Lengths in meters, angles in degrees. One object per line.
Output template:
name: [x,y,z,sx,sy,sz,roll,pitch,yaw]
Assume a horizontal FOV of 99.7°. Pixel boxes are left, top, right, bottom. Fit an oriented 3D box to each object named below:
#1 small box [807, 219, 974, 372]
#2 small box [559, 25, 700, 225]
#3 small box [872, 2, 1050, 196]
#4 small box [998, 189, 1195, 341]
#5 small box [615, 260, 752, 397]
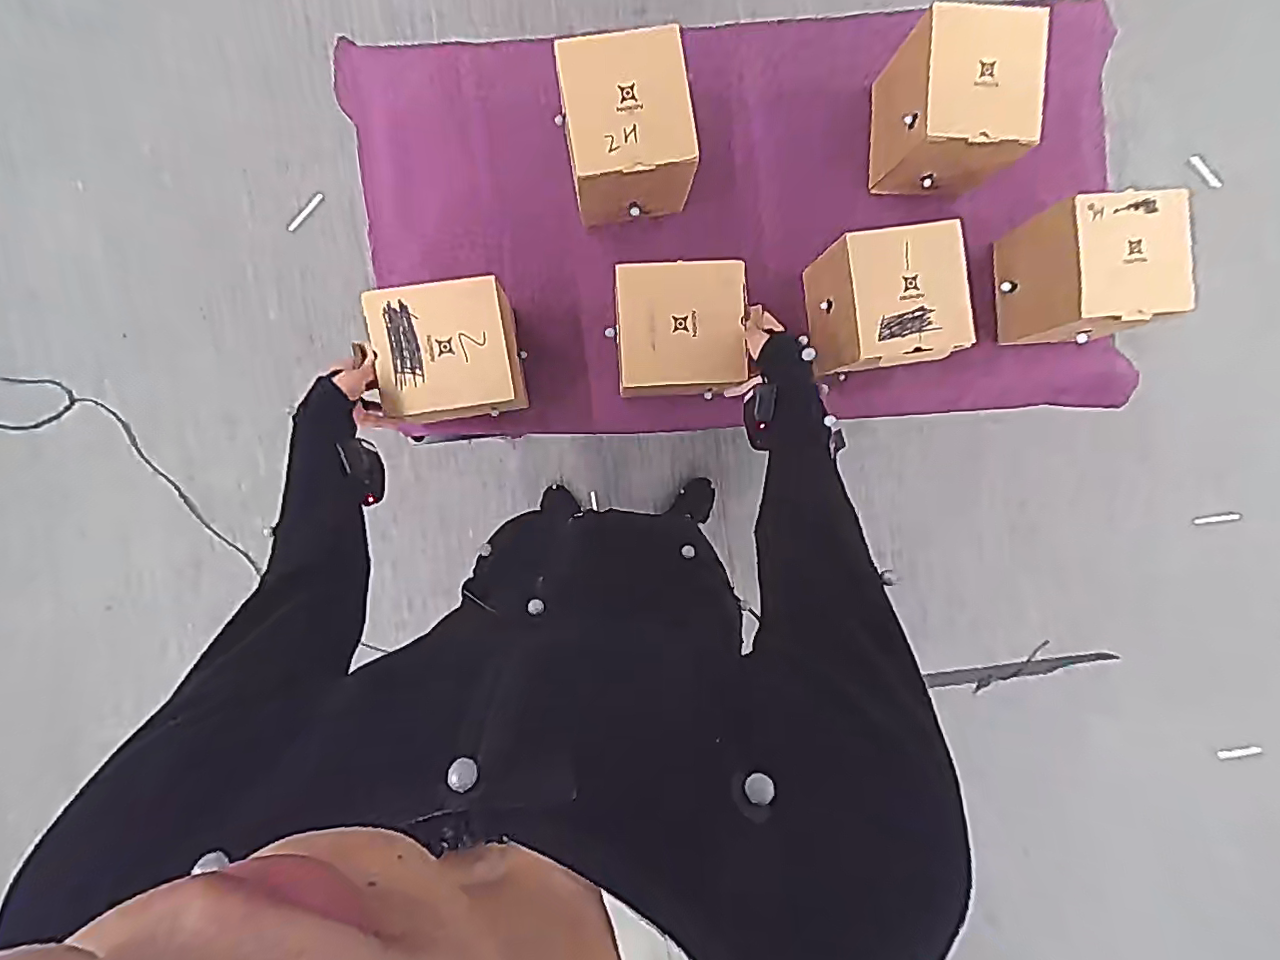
small box: [0.366,-0.264,0.816,0.168,0.176,0.179,-8,93,-3]
small box: [-0.019,-0.499,0.783,0.168,0.176,0.179,-10,94,-3]
small box: [0.466,-0.554,0.808,0.168,0.176,0.179,0,95,-3]
small box: [0.684,-0.315,0.829,0.168,0.176,0.179,-4,92,-2]
small box: [0.056,-0.215,0.802,0.179,0.176,0.168,-3,93,-4]
